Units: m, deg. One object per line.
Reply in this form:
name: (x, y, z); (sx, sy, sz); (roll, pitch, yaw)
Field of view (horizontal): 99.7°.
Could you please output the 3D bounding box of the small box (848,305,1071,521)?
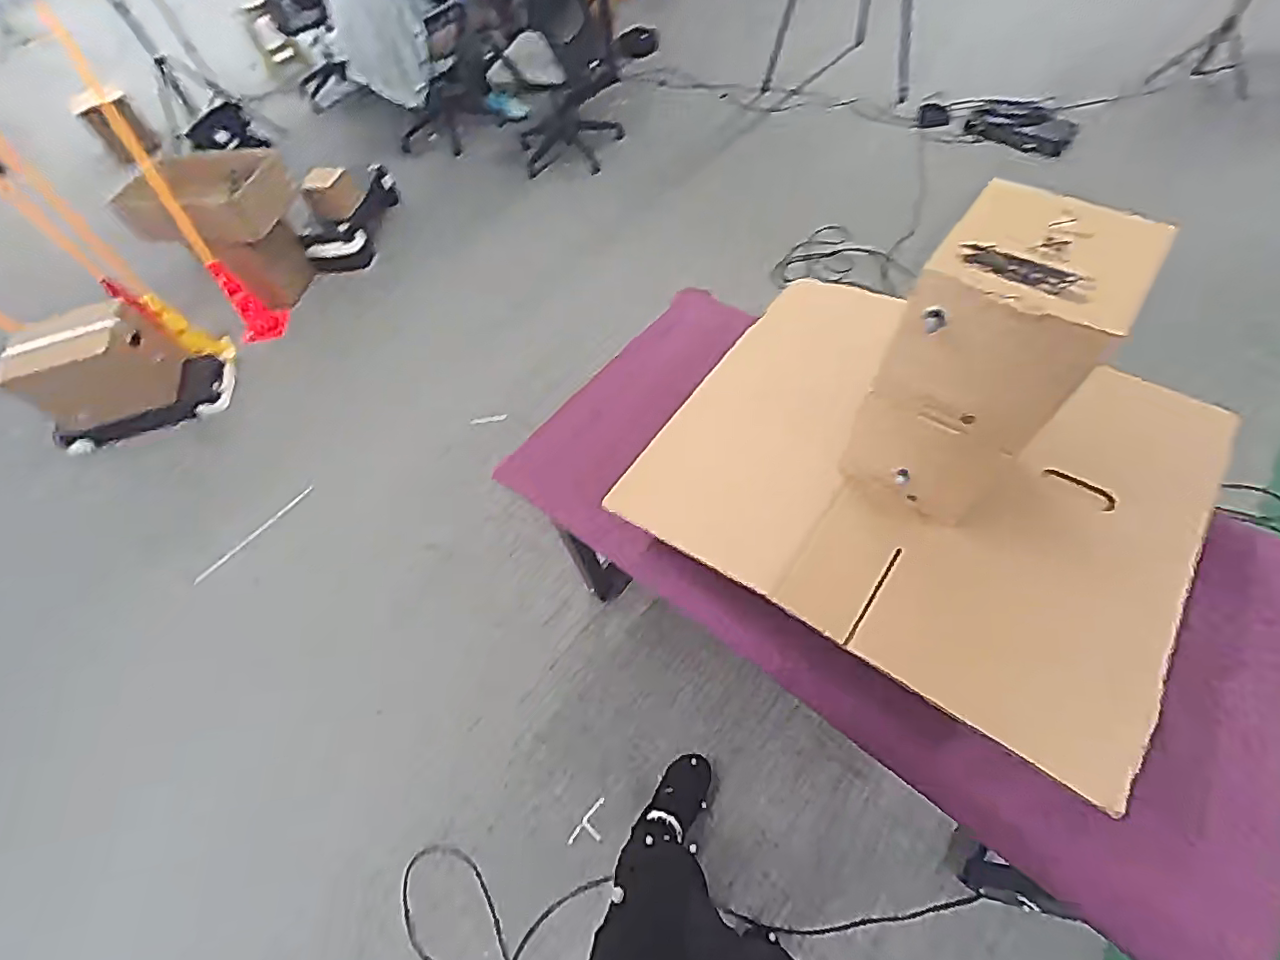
small box: (0.394, -0.082, 0.696); (0.168, 0.176, 0.179); (33, 68, 23)
